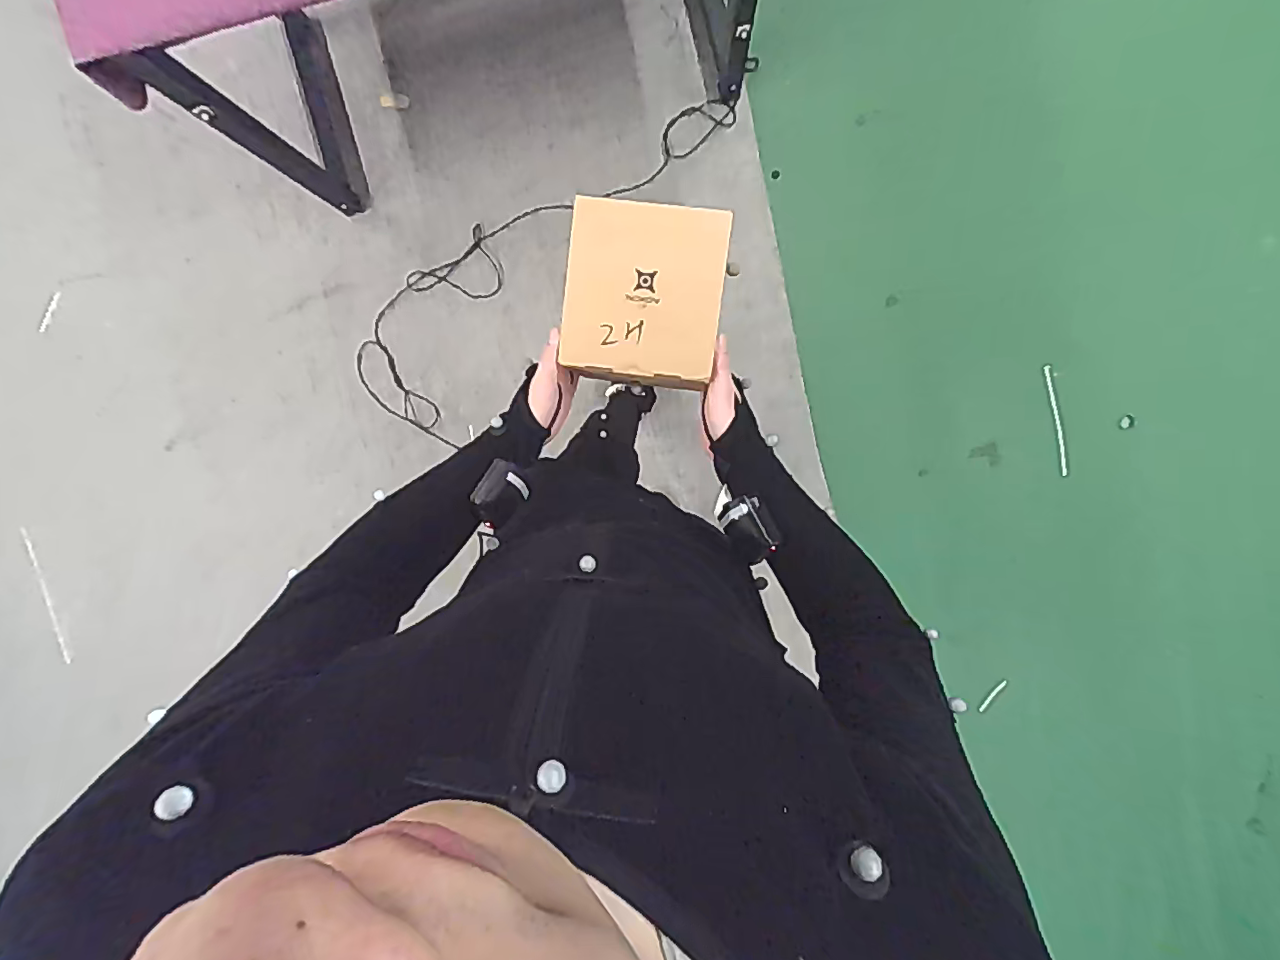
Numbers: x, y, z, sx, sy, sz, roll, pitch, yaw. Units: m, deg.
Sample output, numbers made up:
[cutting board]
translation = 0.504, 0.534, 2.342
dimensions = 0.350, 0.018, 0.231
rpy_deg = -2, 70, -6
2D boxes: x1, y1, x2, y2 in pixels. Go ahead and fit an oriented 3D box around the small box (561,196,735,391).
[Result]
[small box]
translation = 0.009, -0.208, 0.647
dimensions = 0.168, 0.176, 0.179
rpy_deg = 8, 97, 2
